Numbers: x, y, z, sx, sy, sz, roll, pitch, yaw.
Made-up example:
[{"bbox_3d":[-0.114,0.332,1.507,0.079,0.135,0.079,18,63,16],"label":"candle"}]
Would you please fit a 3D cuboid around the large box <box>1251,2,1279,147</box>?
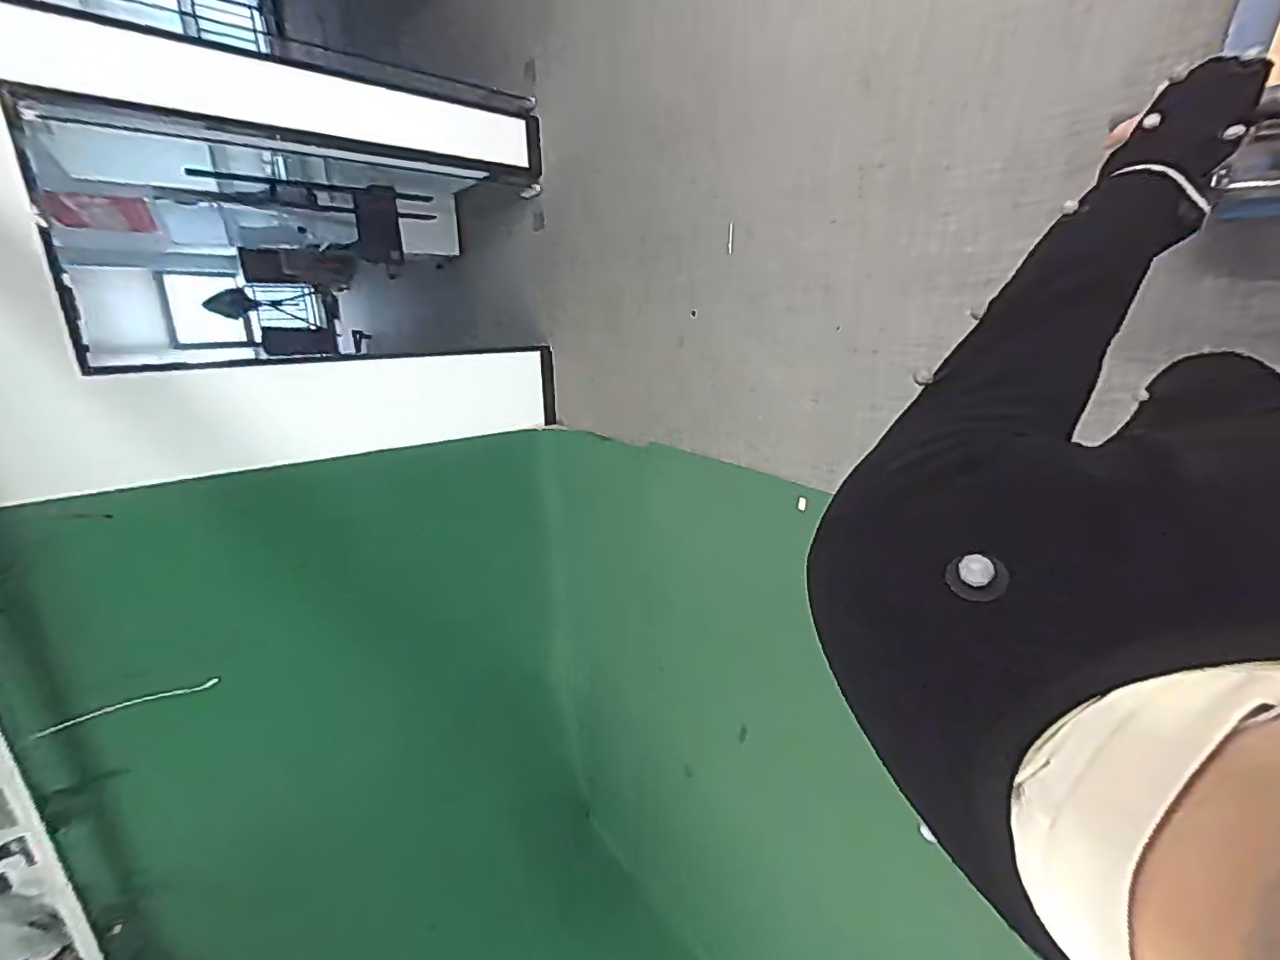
[{"bbox_3d":[1.054,-0.682,0.652,0.320,0.320,0.408,26,119,46],"label":"large box"}]
